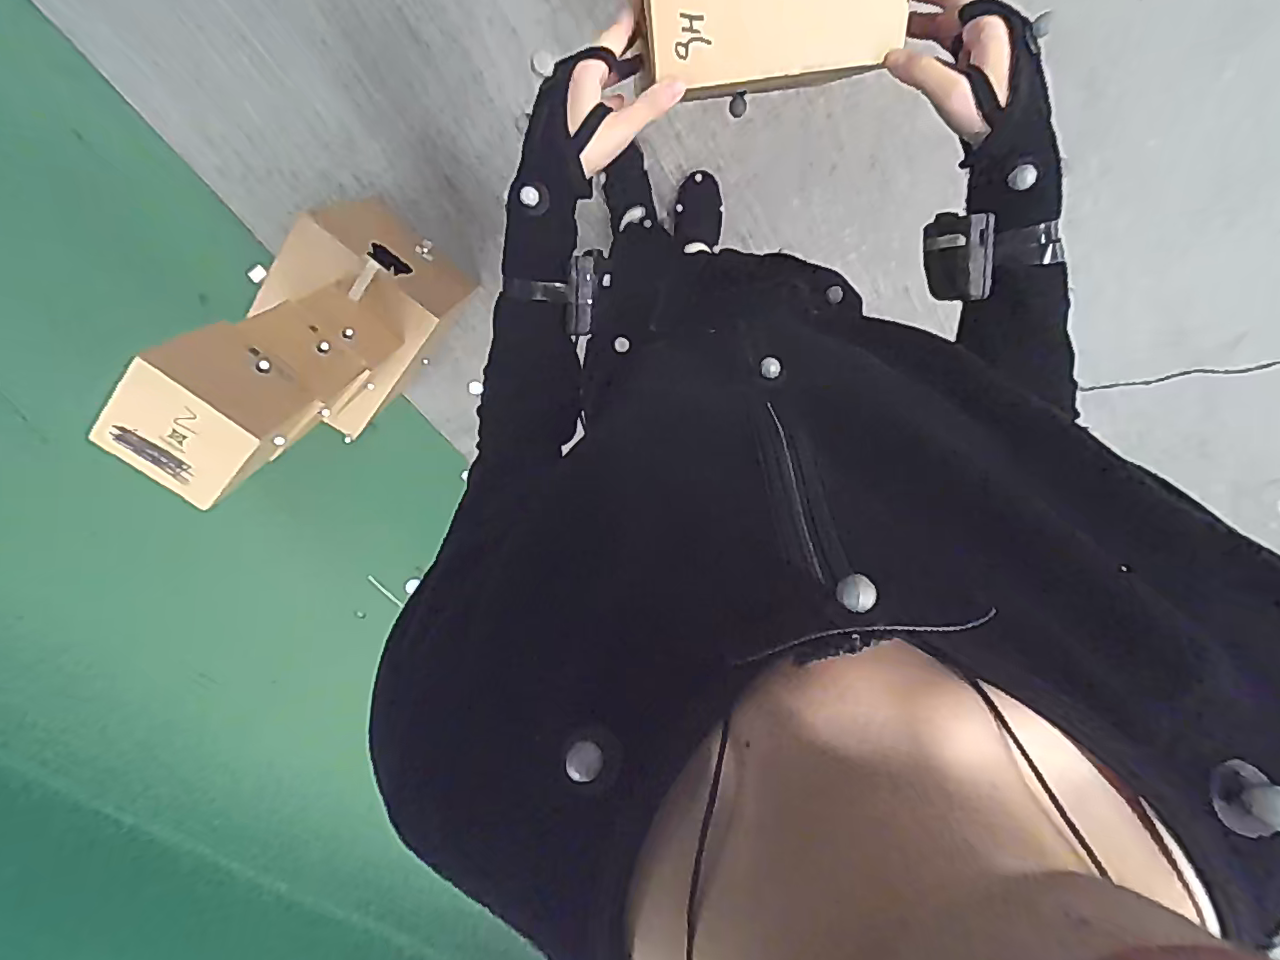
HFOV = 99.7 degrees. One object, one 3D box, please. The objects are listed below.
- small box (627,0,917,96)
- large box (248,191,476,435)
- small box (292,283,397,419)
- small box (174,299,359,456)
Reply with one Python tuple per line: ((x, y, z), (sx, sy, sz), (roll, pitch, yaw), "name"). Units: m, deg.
((0.083, -0.392, 0.392), (0.179, 0.176, 0.168), (-8, 121, -2), "small box")
((-0.656, -0.394, 1.277), (0.320, 0.320, 0.408), (38, 117, -19), "large box")
((-0.621, -0.260, 1.071), (0.168, 0.176, 0.179), (-37, 115, 22), "small box")
((-0.626, -0.179, 0.930), (0.179, 0.176, 0.168), (-36, 115, 21), "small box")
